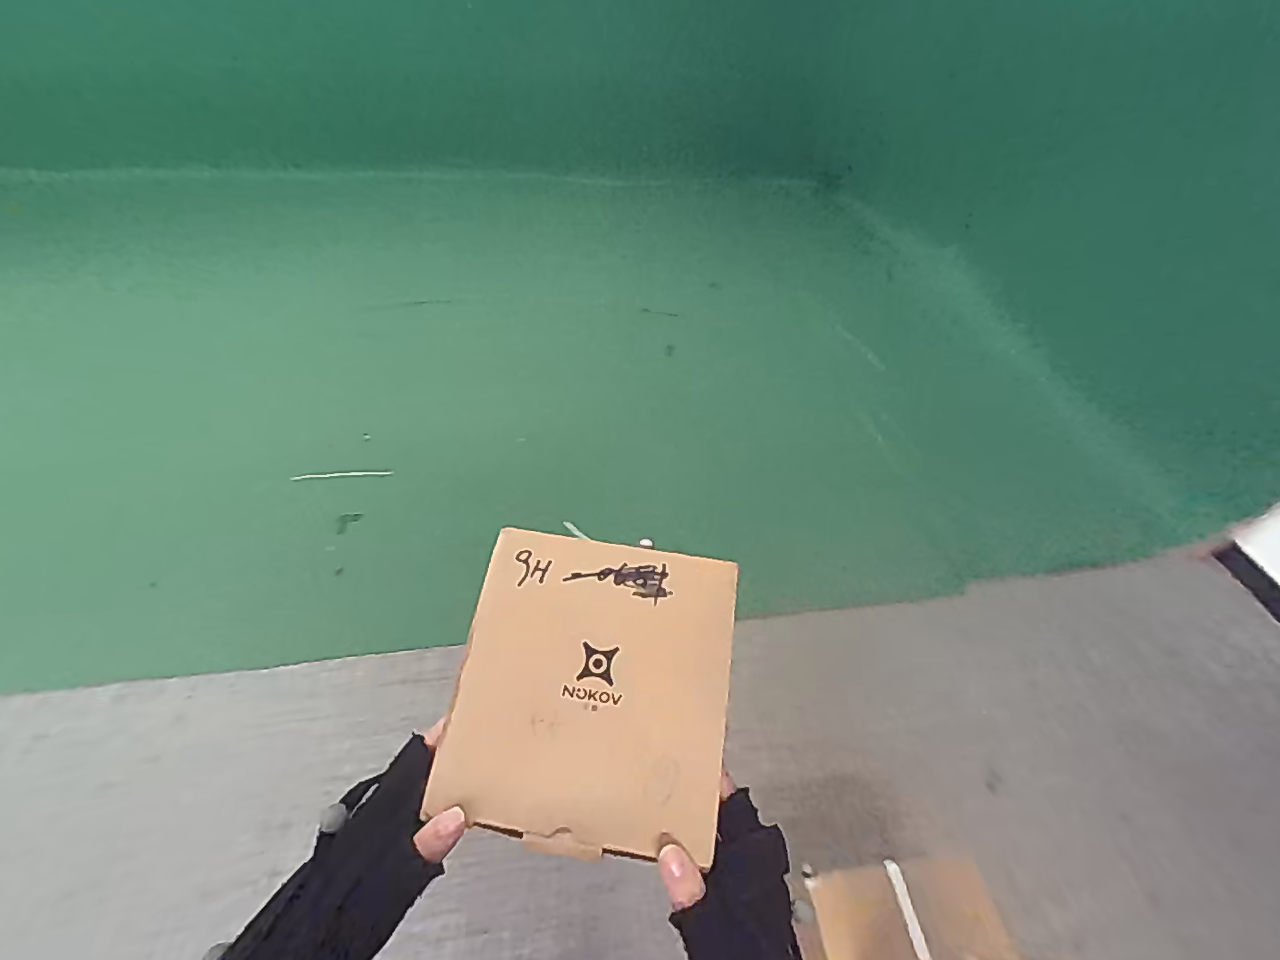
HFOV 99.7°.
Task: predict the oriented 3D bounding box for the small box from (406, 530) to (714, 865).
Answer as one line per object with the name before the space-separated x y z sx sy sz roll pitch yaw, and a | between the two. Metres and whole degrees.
small box | -0.041 0.154 0.405 0.168 0.176 0.179 7 66 3
